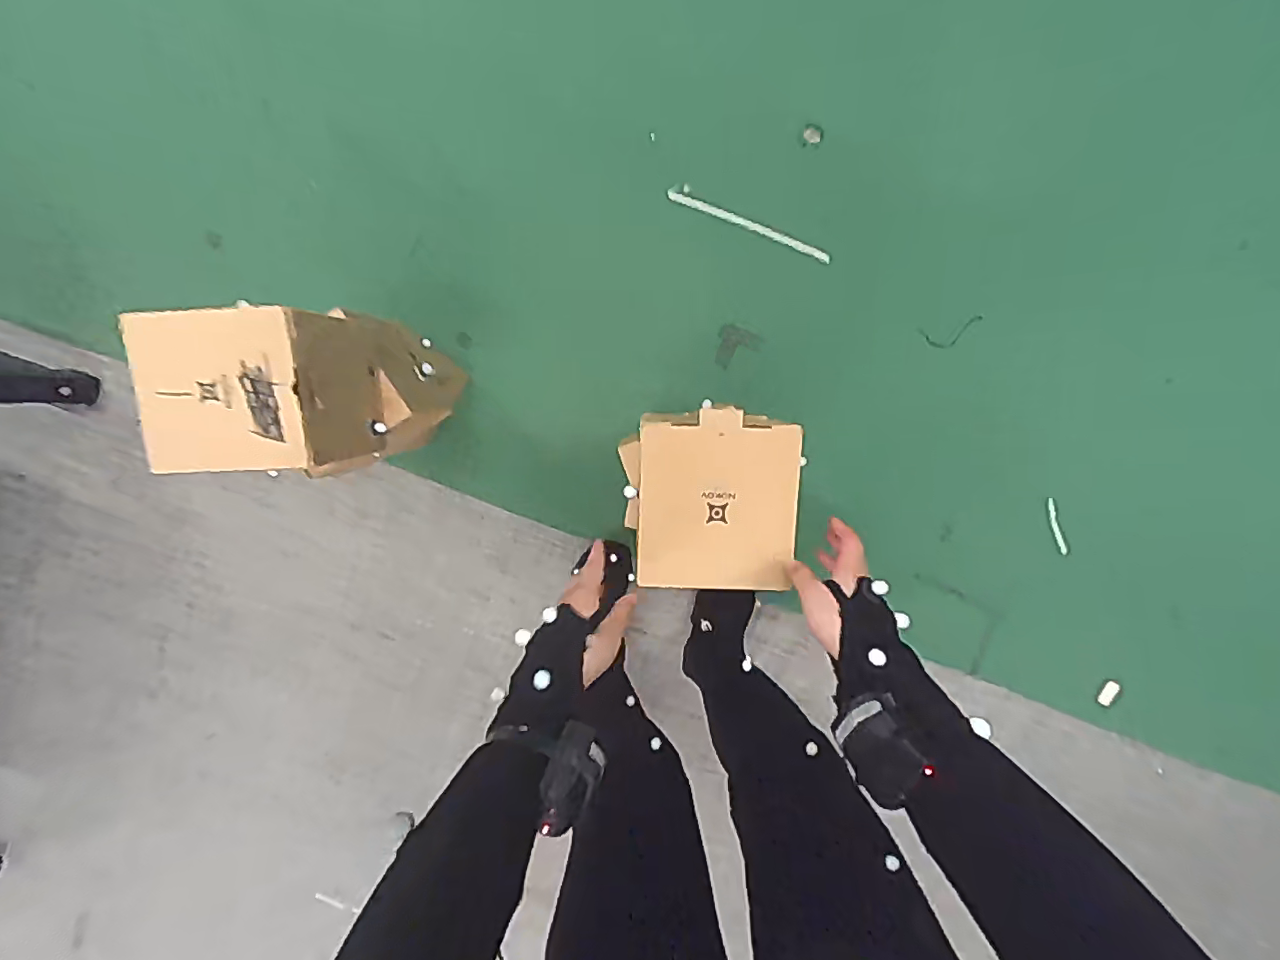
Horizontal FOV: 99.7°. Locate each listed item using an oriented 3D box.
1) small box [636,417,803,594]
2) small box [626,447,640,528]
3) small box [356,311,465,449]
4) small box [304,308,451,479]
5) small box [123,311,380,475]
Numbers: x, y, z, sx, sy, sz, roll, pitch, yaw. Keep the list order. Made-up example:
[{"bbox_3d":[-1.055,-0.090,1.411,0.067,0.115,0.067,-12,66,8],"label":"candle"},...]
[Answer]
[{"bbox_3d":[0.083,0.019,0.636,0.168,0.176,0.179,1,99,1],"label":"small box"},{"bbox_3d":[0.072,-0.002,0.965,0.168,0.176,0.179,12,98,-1],"label":"small box"},{"bbox_3d":[-0.438,-0.165,0.951,0.168,0.176,0.179,37,98,-5],"label":"small box"},{"bbox_3d":[-0.414,-0.124,0.793,0.179,0.176,0.168,-32,98,5],"label":"small box"},{"bbox_3d":[-0.426,-0.101,0.630,0.179,0.176,0.168,-2,100,2],"label":"small box"}]
